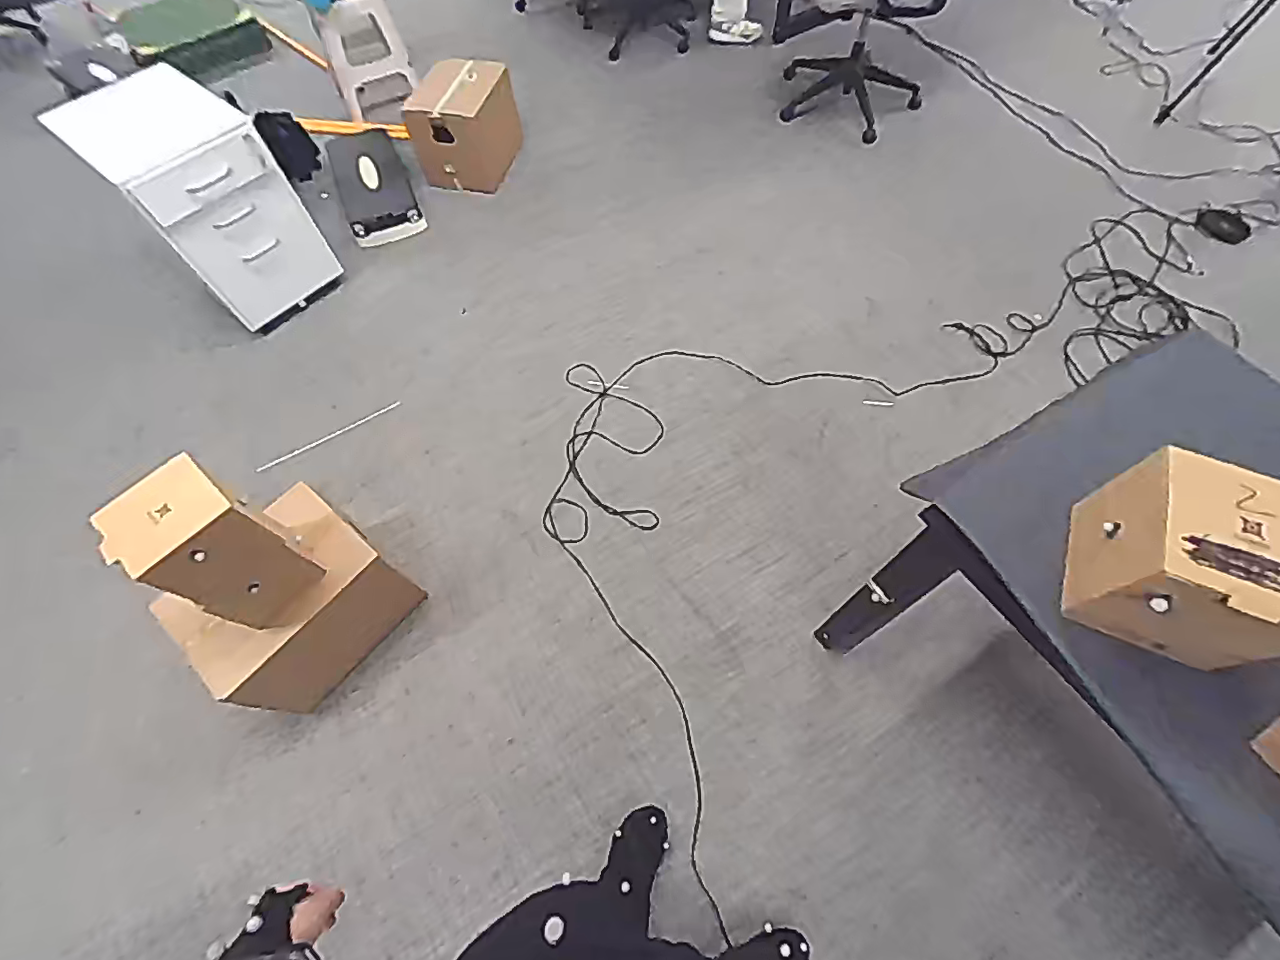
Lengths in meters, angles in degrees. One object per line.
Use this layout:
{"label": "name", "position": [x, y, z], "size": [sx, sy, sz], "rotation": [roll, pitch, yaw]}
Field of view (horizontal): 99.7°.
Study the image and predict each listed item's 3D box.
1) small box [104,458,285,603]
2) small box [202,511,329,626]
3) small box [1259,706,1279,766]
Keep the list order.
{"label": "small box", "position": [-0.806, 0.098, 1.005], "size": [0.168, 0.176, 0.179], "rotation": [37, 70, 18]}
{"label": "small box", "position": [-0.810, 0.183, 1.144], "size": [0.168, 0.176, 0.179], "rotation": [36, 69, 19]}
{"label": "small box", "position": [0.810, 0.277, 0.537], "size": [0.179, 0.176, 0.168], "rotation": [-26, 63, -12]}
